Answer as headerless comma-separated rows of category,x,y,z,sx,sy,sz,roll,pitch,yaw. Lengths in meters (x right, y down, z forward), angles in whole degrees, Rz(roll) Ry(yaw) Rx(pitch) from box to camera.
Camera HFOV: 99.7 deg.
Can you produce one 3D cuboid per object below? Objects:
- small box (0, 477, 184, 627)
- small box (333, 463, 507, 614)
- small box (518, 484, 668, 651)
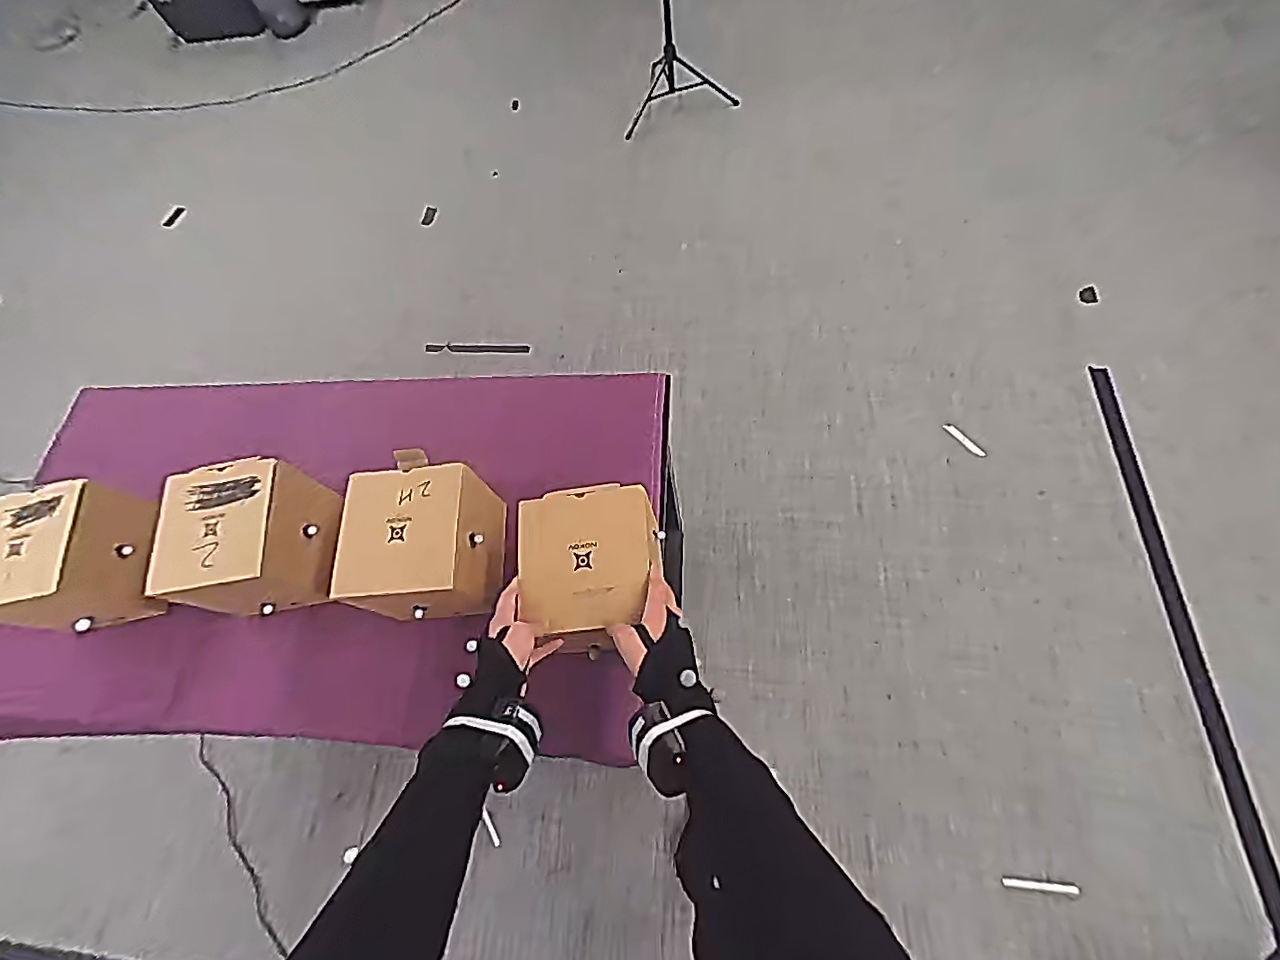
small box,-0.869,0.118,0.845,0.168,0.176,0.179,-12,66,3
small box,-0.300,0.093,0.779,0.168,0.176,0.179,-5,66,5
small box,-0.056,0.125,0.731,0.168,0.176,0.179,-7,65,6
